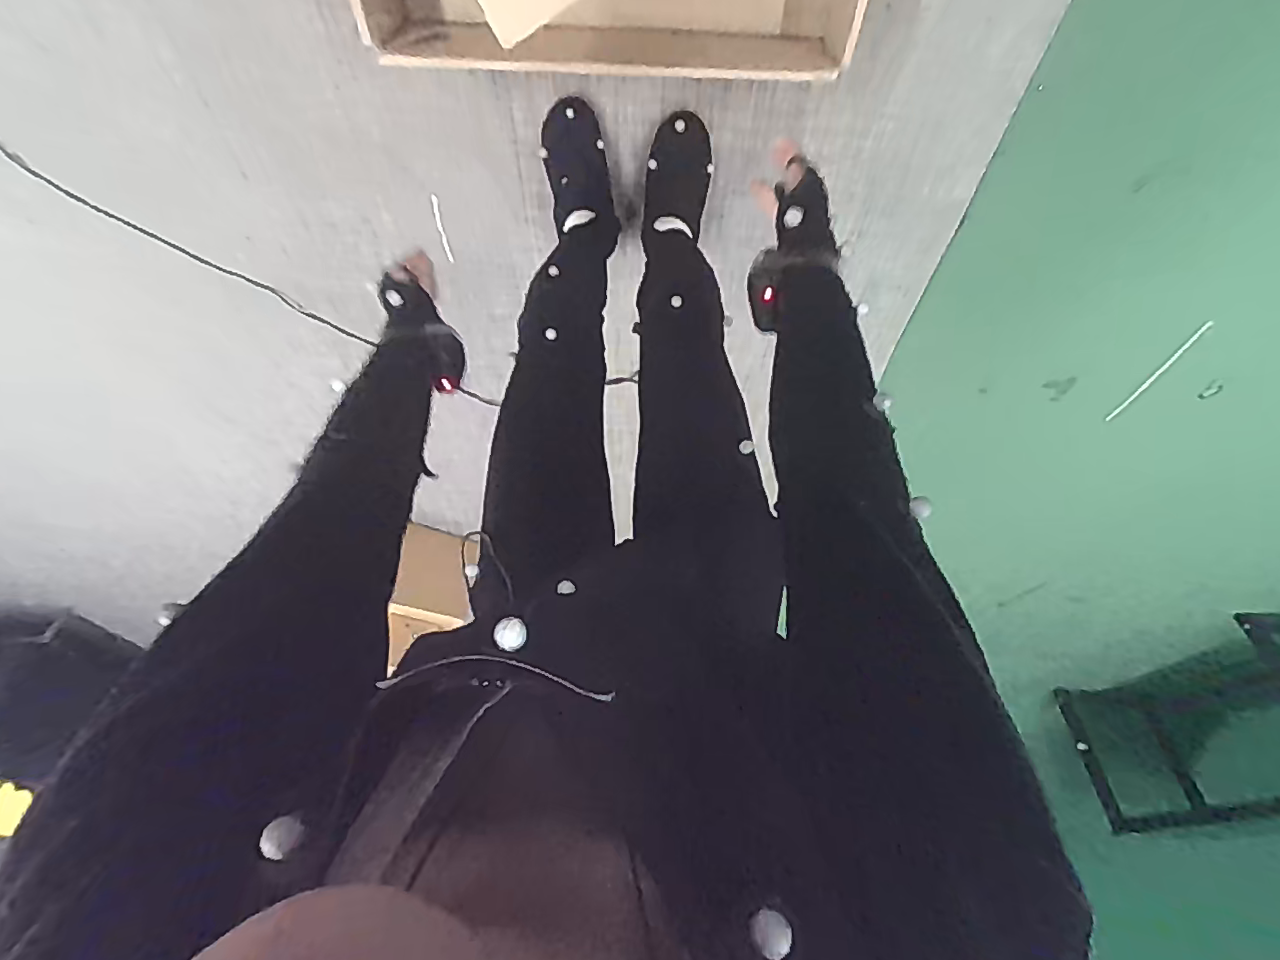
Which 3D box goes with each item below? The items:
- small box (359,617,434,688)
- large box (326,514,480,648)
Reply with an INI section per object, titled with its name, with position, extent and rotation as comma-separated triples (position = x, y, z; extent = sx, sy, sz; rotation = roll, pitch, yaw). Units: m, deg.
[small box]
position = -0.815, 0.583, 1.822
extent = 0.168, 0.176, 0.179
rotation = 25, 137, -27
[large box]
position = -0.842, 0.370, 1.947
extent = 0.408, 0.320, 0.320
rotation = 23, 137, -23
